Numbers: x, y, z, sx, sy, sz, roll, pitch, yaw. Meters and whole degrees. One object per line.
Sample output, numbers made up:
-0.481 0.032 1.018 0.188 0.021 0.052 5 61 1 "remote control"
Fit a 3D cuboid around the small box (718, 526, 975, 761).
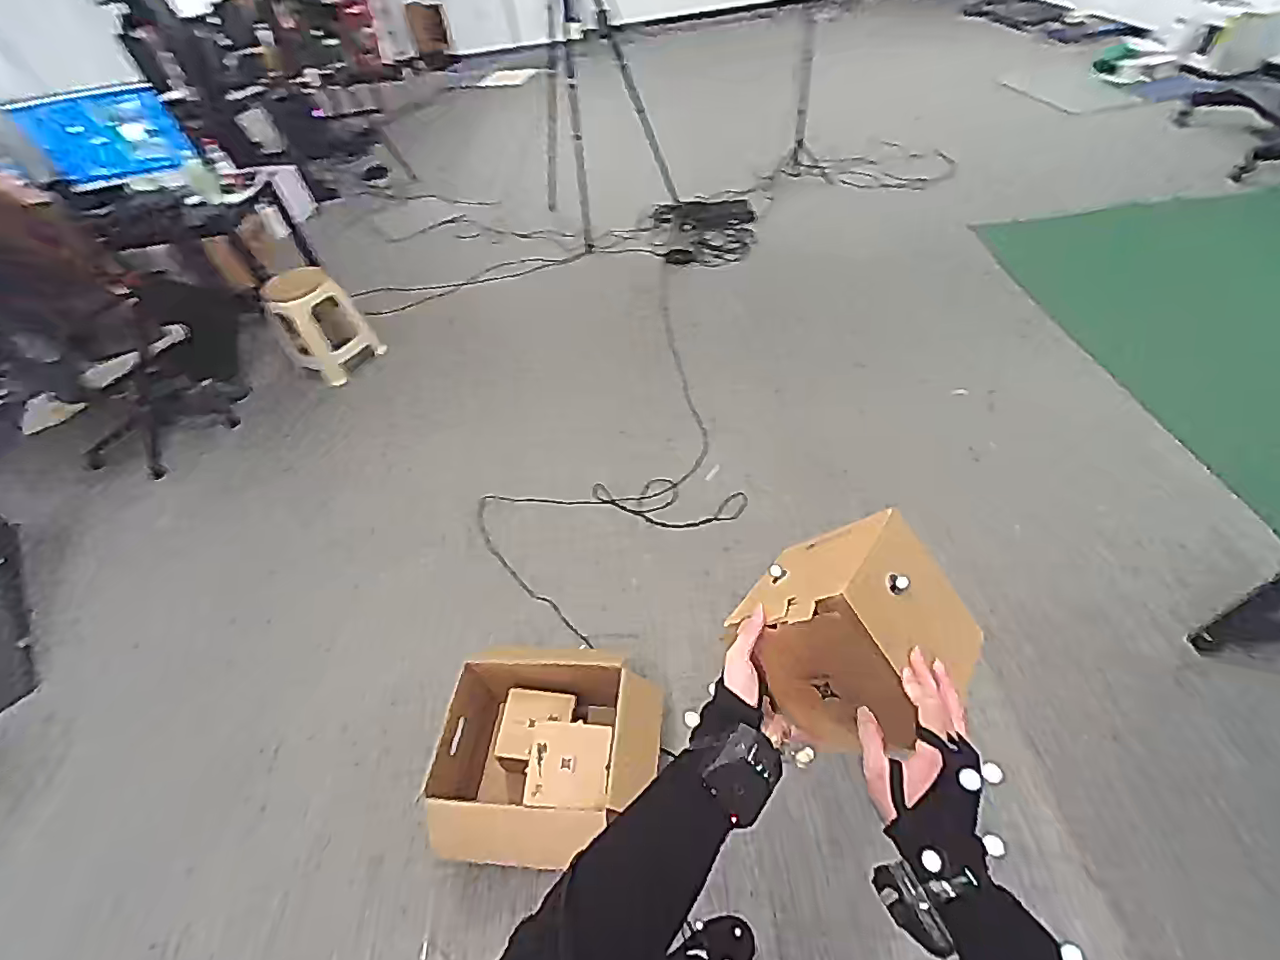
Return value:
0.225 0.170 0.587 0.179 0.168 0.176 53 48 0 "small box"
